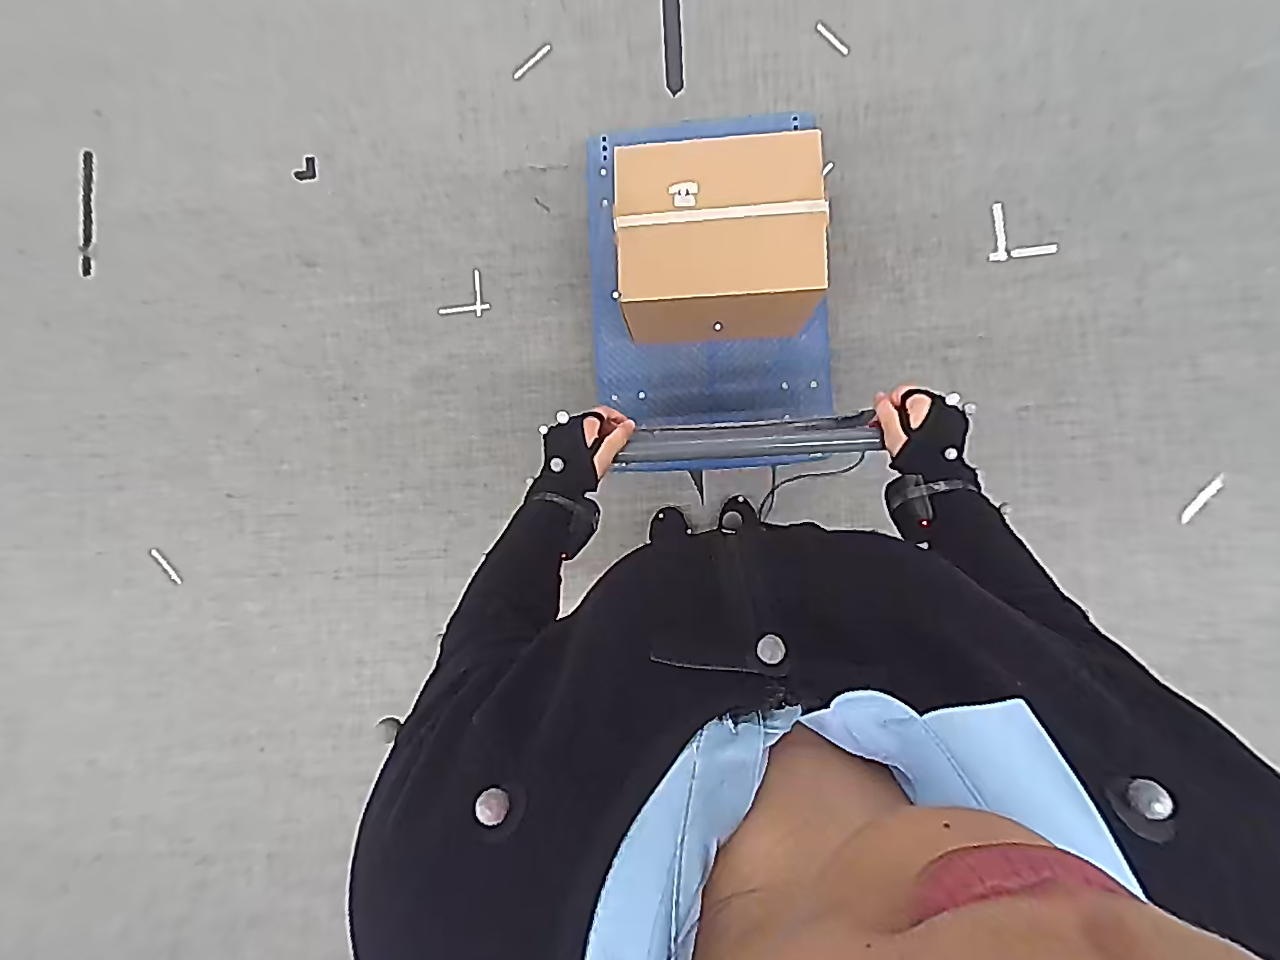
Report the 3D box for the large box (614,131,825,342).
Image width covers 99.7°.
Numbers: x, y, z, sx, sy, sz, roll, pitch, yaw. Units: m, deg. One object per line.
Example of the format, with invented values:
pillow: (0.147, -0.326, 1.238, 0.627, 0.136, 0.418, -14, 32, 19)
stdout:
large box: (0.169, -0.511, 1.212, 0.408, 0.320, 0.320, -3, 87, 6)
